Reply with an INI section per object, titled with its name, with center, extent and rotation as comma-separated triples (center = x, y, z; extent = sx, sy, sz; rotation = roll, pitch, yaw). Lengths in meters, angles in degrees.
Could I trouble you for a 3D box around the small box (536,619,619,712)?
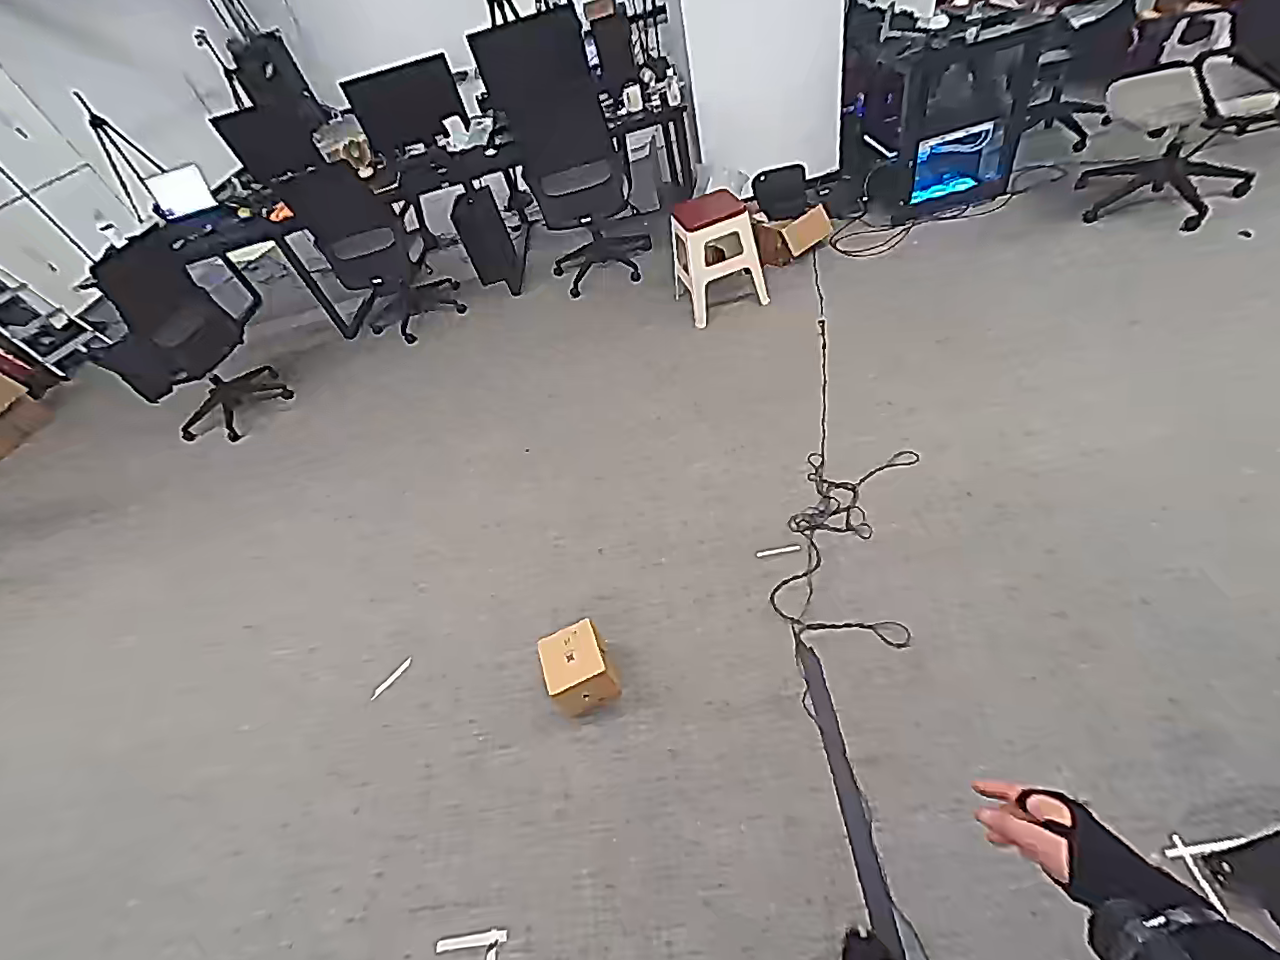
[small box]
center = -0.175, 0.538, 1.546
extent = 0.168, 0.176, 0.179
rotation = -24, 45, -4
